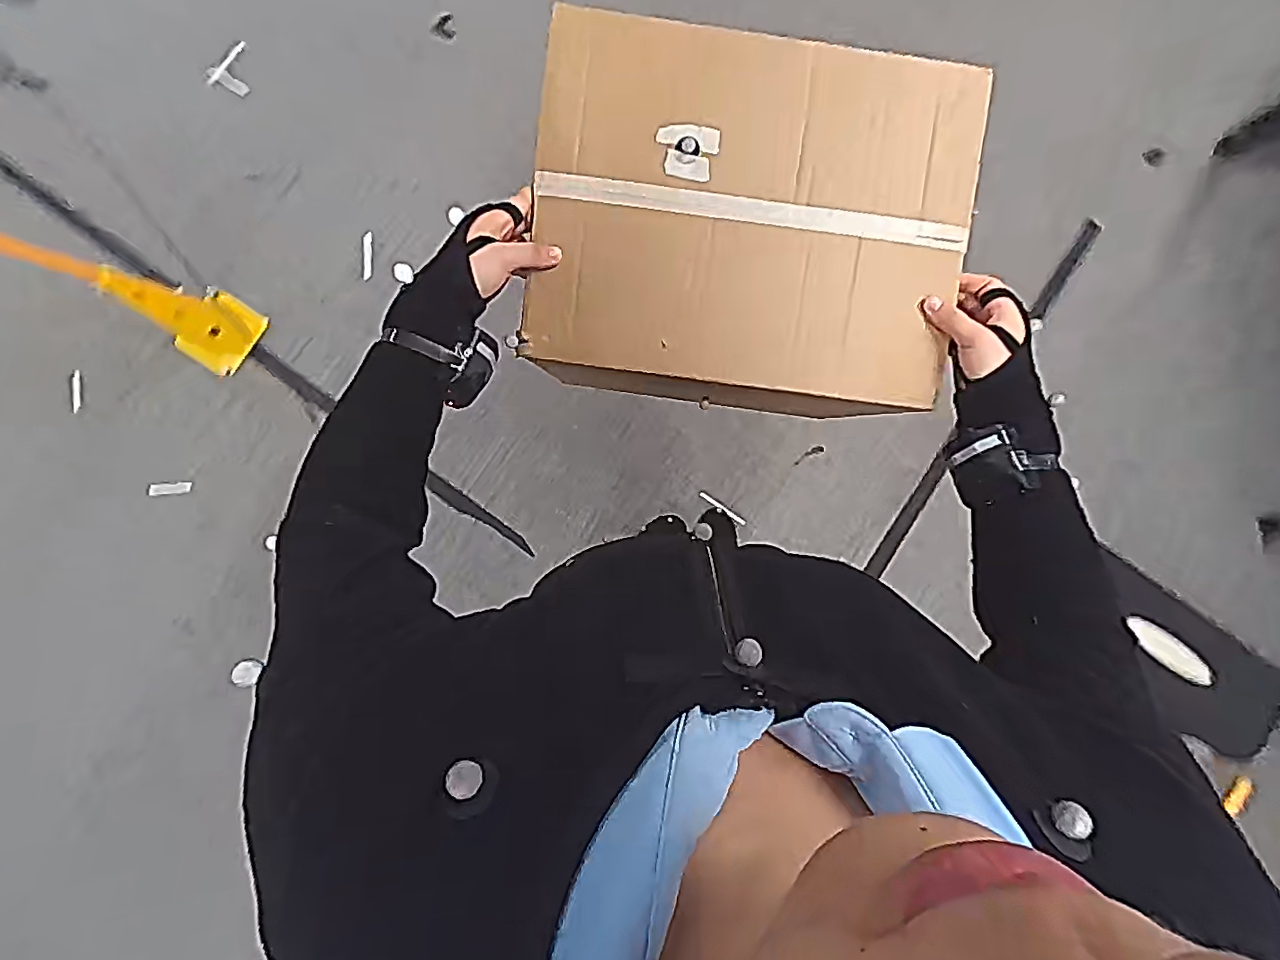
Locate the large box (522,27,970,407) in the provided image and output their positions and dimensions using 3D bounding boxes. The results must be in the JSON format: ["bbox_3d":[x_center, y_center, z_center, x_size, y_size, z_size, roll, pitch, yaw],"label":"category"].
[{"bbox_3d":[0.098,-0.262,0.659,0.408,0.320,0.320,6,94,0],"label":"large box"}]
